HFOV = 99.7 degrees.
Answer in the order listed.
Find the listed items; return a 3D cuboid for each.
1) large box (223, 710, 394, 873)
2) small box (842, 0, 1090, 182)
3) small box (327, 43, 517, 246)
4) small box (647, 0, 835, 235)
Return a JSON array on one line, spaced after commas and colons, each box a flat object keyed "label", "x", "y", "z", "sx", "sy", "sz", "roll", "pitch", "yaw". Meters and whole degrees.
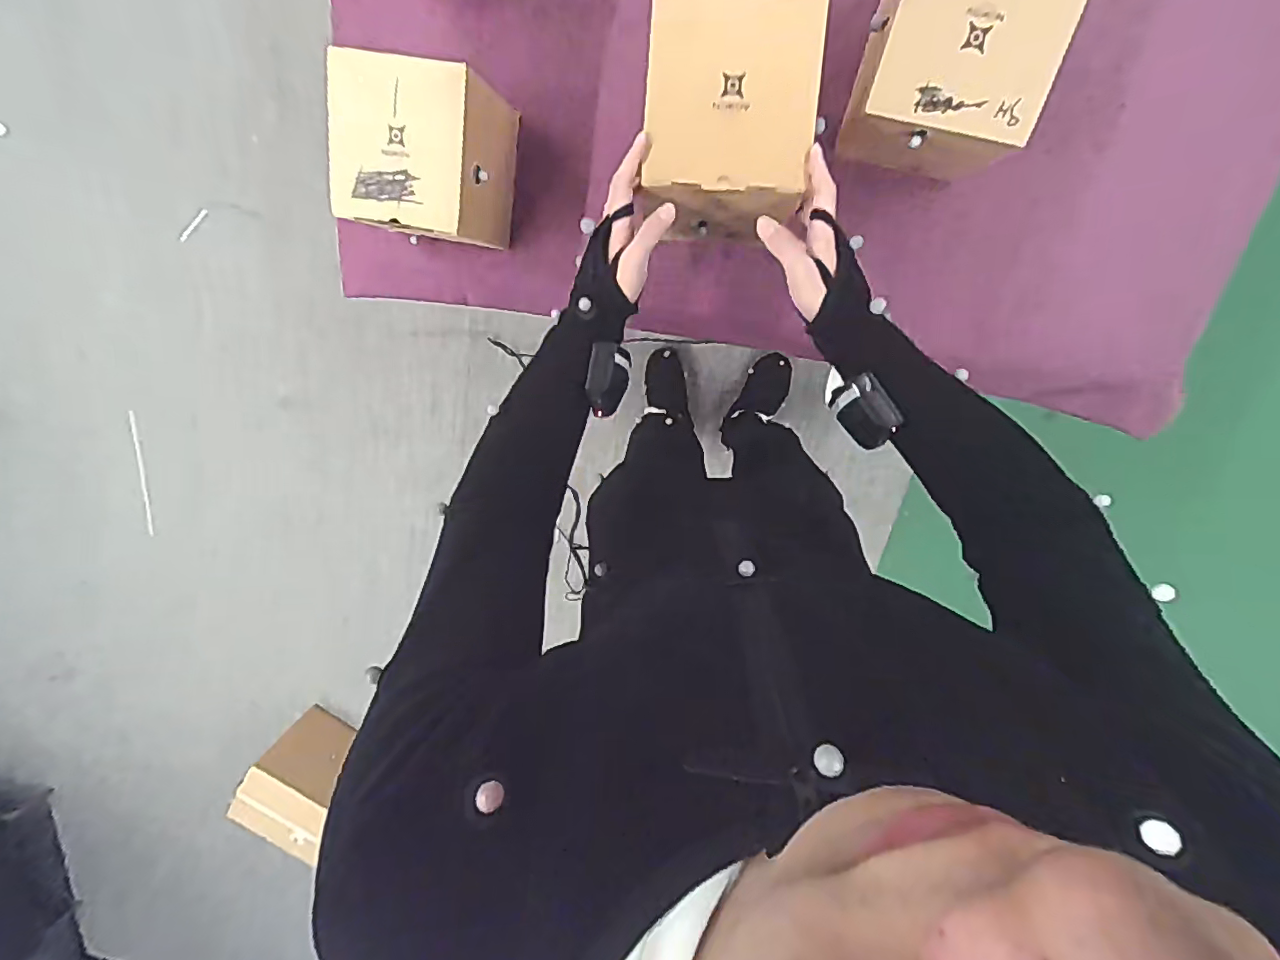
[{"label": "large box", "x": -1.238, "y": 1.165, "z": 2.048, "sx": 0.408, "sy": 0.320, "sz": 0.320, "roll": 34, "pitch": 110, "yaw": -4}, {"label": "small box", "x": 0.339, "y": -0.455, "z": 0.591, "sx": 0.168, "sy": 0.176, "sz": 0.179, "roll": 15, "pitch": 109, "yaw": 4}, {"label": "small box", "x": -0.268, "y": -0.410, "z": 0.692, "sx": 0.168, "sy": 0.176, "sz": 0.179, "roll": 11, "pitch": 108, "yaw": 4}, {"label": "small box", "x": 0.096, "y": -0.388, "z": 0.588, "sx": 0.168, "sy": 0.176, "sz": 0.179, "roll": 4, "pitch": 99, "yaw": 2}]
